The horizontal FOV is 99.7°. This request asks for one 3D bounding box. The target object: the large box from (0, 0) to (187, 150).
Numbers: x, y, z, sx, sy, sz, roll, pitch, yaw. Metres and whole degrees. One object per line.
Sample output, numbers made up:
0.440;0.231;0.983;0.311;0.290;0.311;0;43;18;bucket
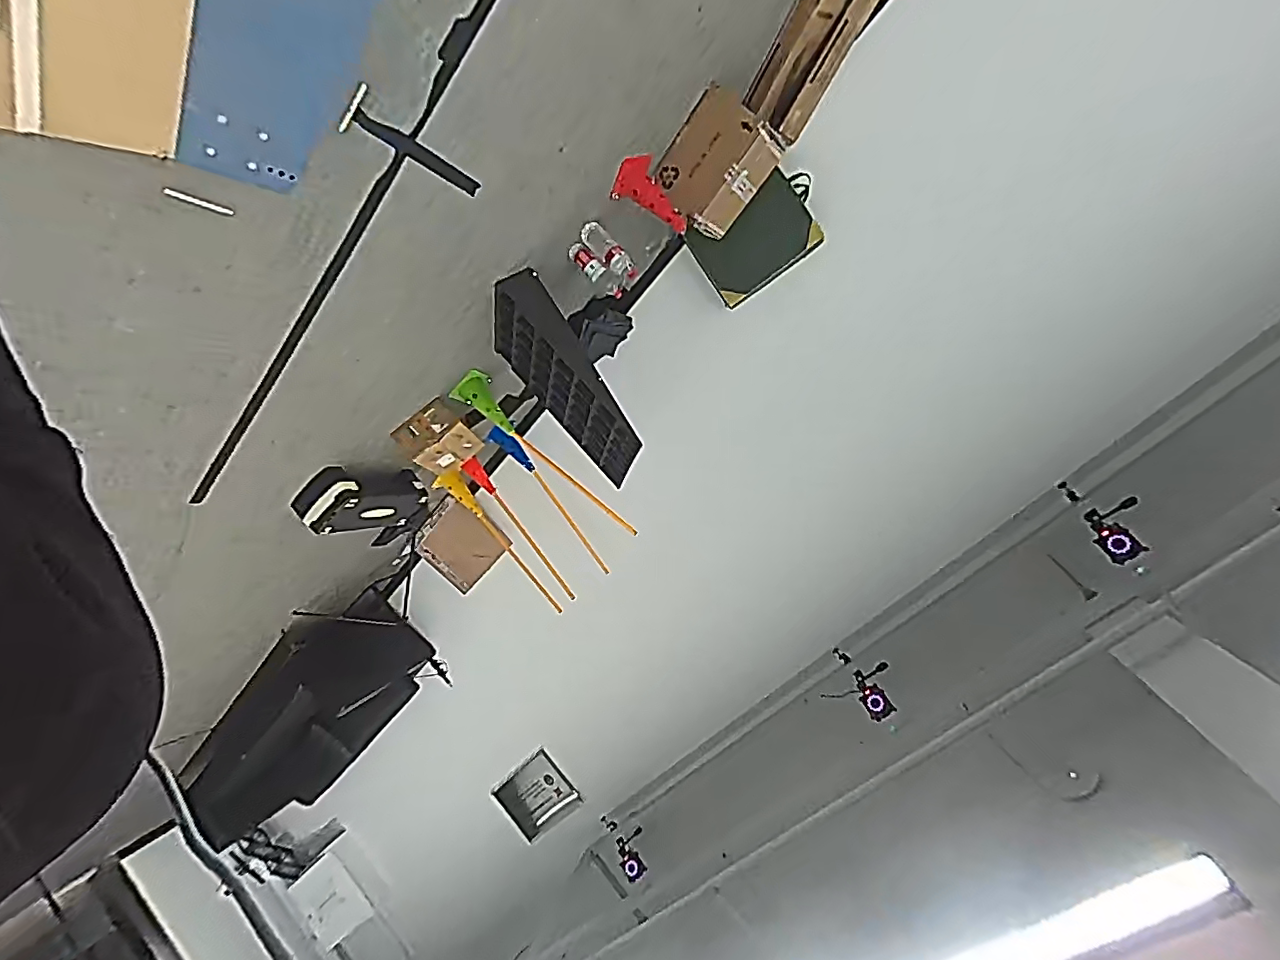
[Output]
-0.754;-0.674;0.584;0.408;0.320;0.320;-46;171;32;large box
